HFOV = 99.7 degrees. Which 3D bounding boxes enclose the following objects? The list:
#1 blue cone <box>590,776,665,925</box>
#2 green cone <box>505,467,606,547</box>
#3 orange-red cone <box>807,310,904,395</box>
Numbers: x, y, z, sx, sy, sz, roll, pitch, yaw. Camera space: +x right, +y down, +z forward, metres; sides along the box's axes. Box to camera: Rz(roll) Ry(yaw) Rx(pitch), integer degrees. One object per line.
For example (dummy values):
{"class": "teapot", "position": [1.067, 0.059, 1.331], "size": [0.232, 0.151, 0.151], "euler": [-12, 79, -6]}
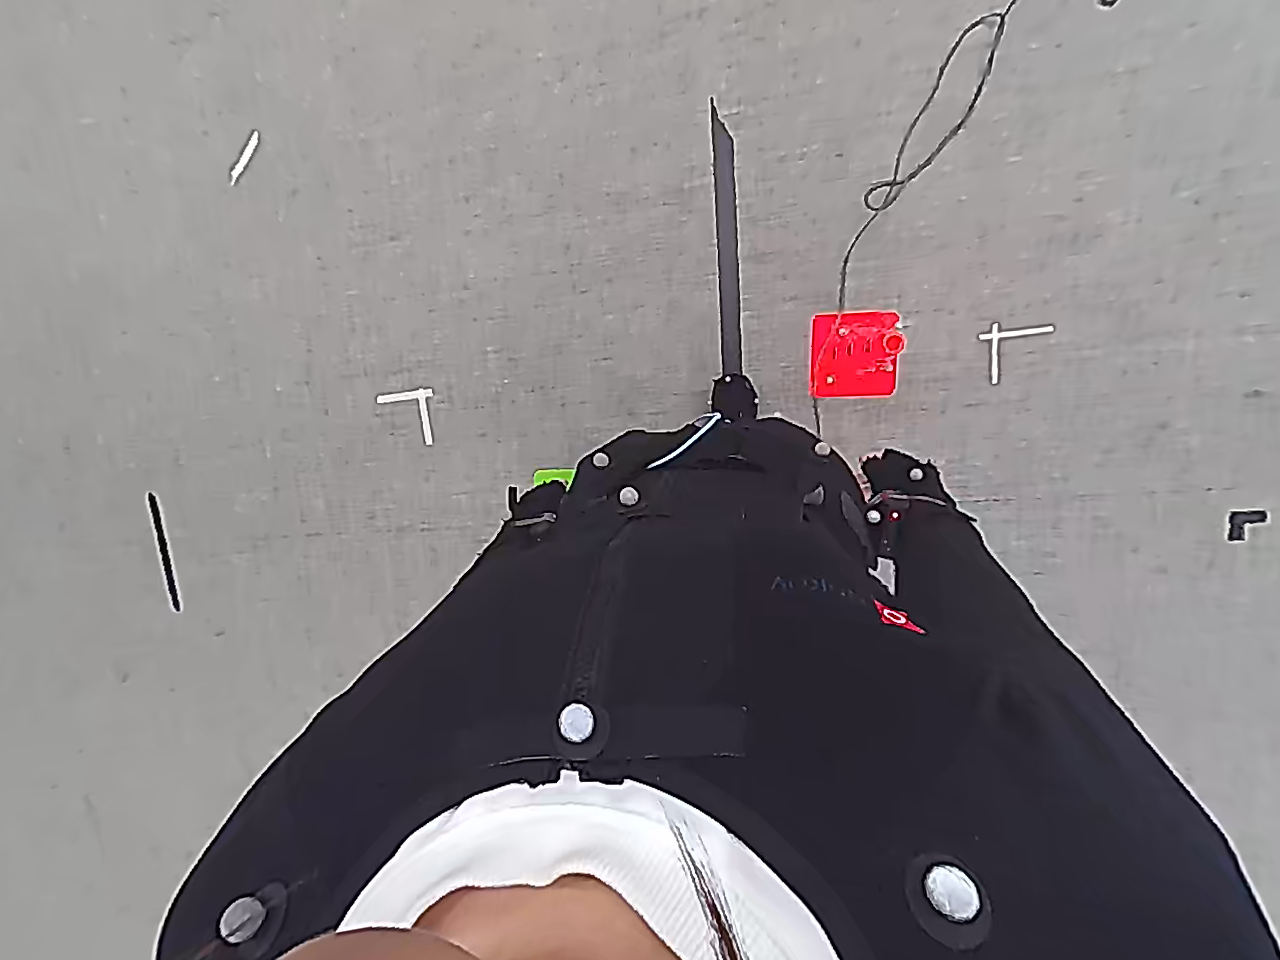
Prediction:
{"class": "blue cone", "position": [-0.053, 0.985, 1.427], "size": [0.192, 0.380, 0.193], "euler": [2, 99, 11]}
{"class": "green cone", "position": [-0.226, 0.090, 1.305], "size": [0.202, 0.368, 0.200], "euler": [-2, 98, 12]}
{"class": "orange-red cone", "position": [0.480, -0.274, 1.127], "size": [0.199, 0.360, 0.198], "euler": [2, 100, 9]}
